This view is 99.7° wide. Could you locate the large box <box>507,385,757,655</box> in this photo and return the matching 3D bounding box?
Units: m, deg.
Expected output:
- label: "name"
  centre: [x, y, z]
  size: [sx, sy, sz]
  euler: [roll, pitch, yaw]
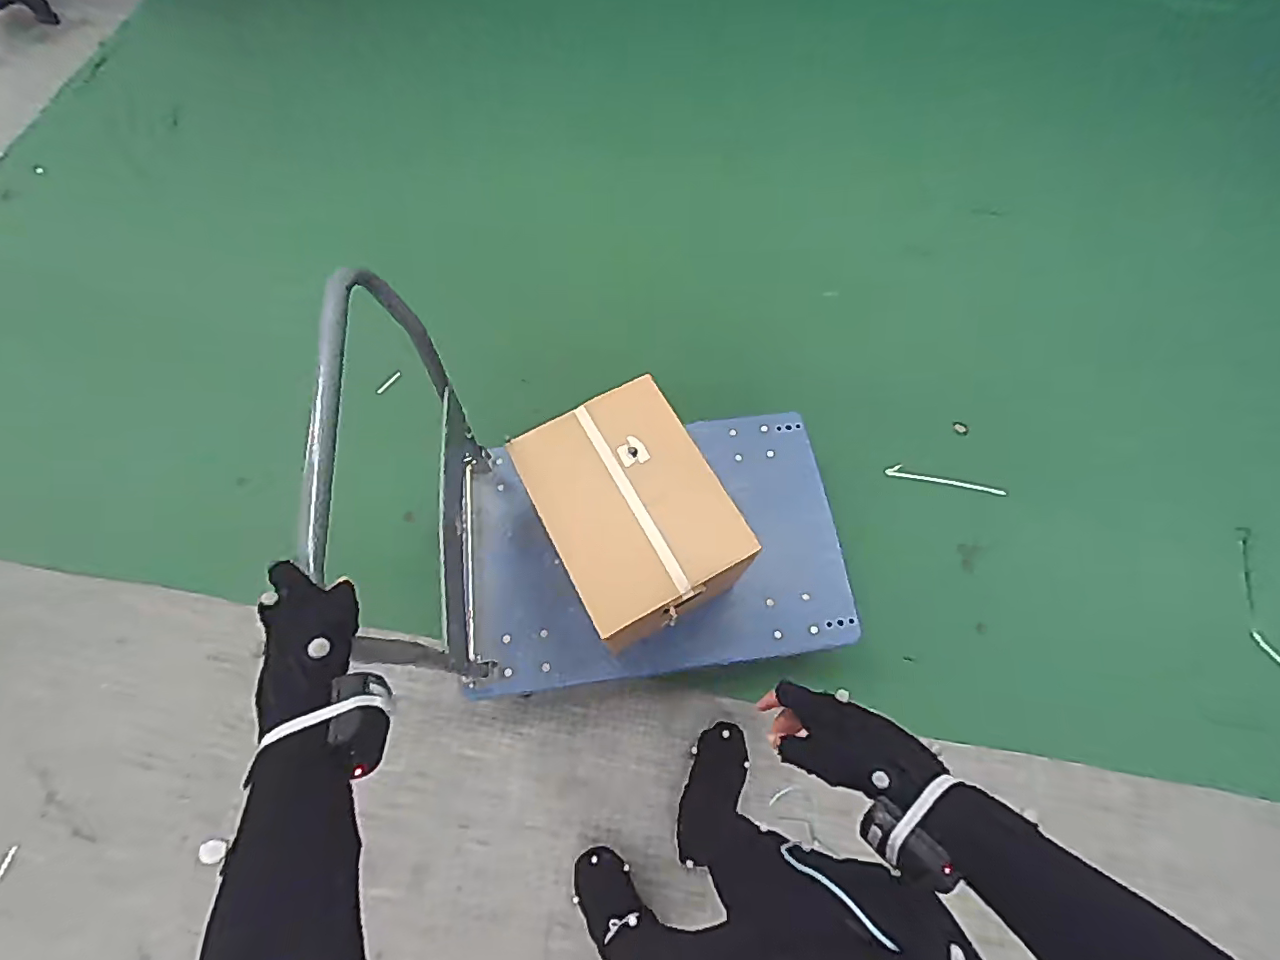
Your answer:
- label: "large box"
  centre: [-0.017, 0.095, 1.115]
  size: [0.320, 0.320, 0.408]
  euler: [-28, 69, -10]
